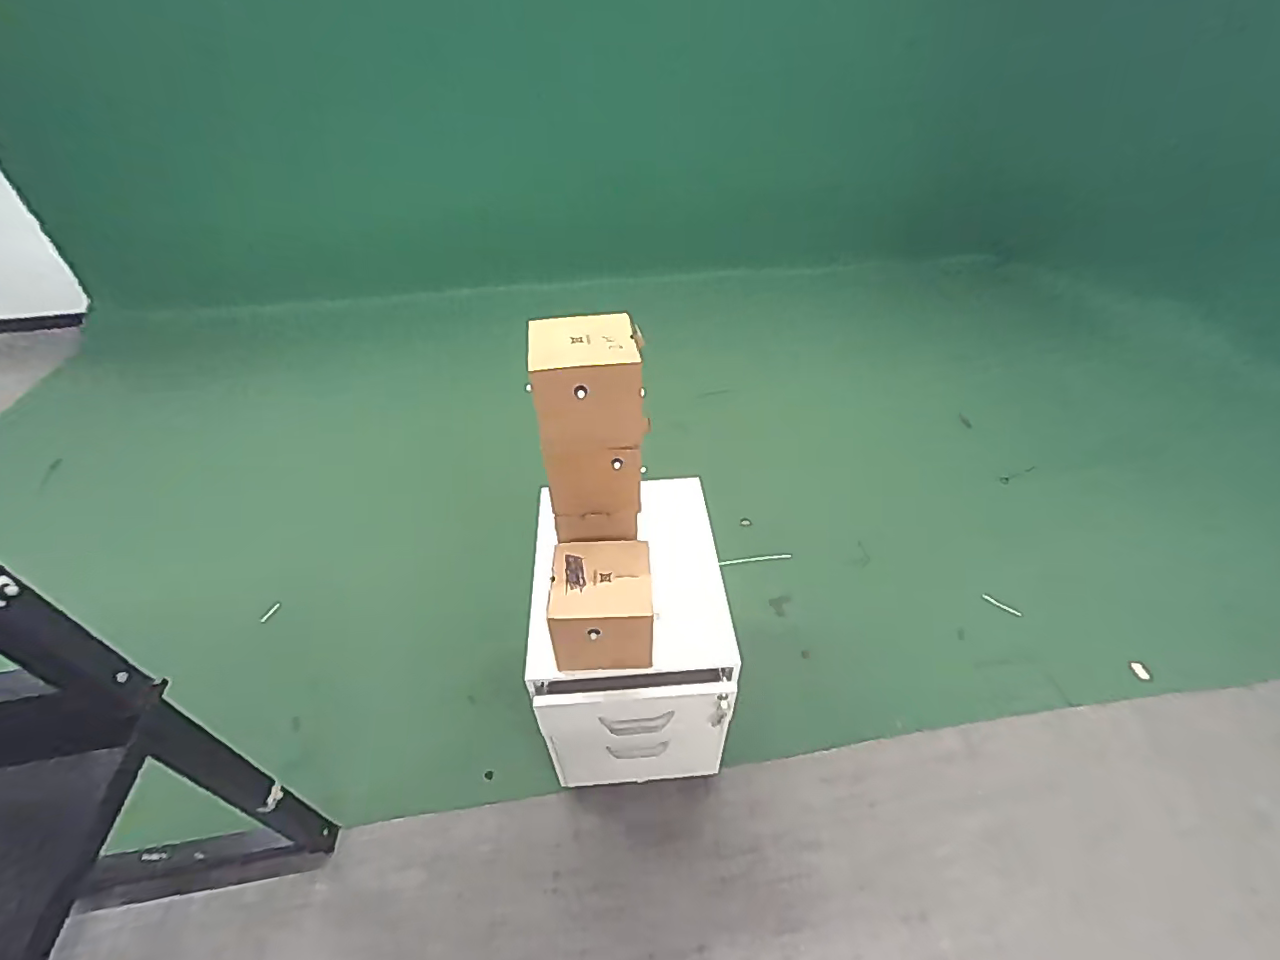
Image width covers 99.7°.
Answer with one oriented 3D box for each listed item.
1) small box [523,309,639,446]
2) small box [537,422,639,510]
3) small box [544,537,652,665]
[{"bbox_3d":[-0.097,-0.172,0.923,0.179,0.176,0.168,-5,44,-6],"label":"small box"},{"bbox_3d":[-0.091,-0.056,1.040,0.179,0.176,0.168,0,43,-1],"label":"small box"},{"bbox_3d":[-0.069,0.220,0.978,0.179,0.176,0.168,-1,42,-1],"label":"small box"}]
